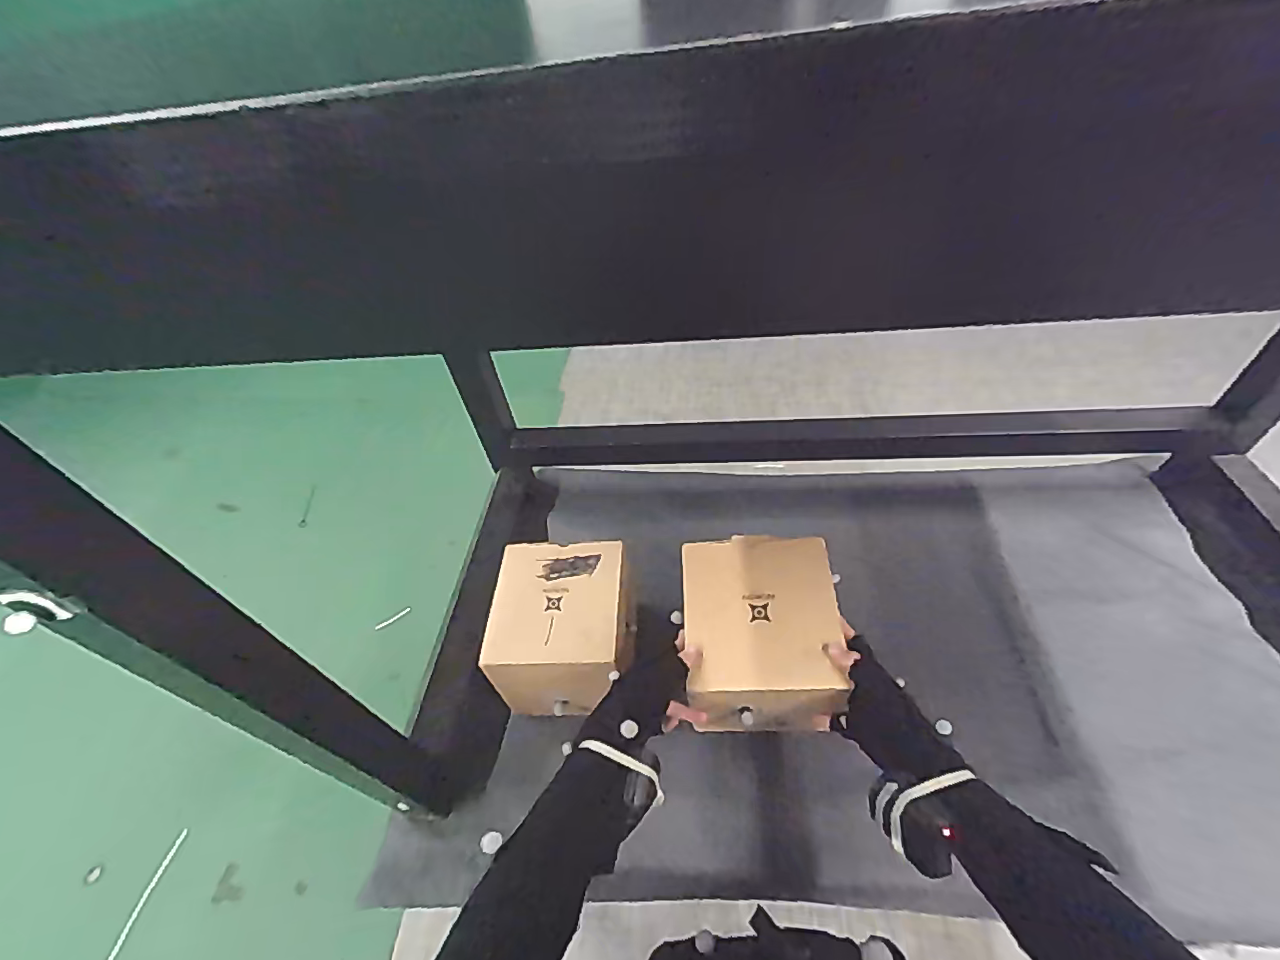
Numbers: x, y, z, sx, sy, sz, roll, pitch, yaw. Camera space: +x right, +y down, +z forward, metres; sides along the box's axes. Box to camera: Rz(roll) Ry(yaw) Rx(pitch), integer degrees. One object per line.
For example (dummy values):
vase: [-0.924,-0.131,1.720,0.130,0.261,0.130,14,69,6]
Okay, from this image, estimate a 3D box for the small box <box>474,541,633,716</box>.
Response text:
small box: [-0.103,0.202,0.741,0.168,0.176,0.179,-2,47,7]

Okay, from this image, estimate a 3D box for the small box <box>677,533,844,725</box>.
small box: [0.134,0.184,0.645,0.168,0.176,0.179,-4,51,8]
